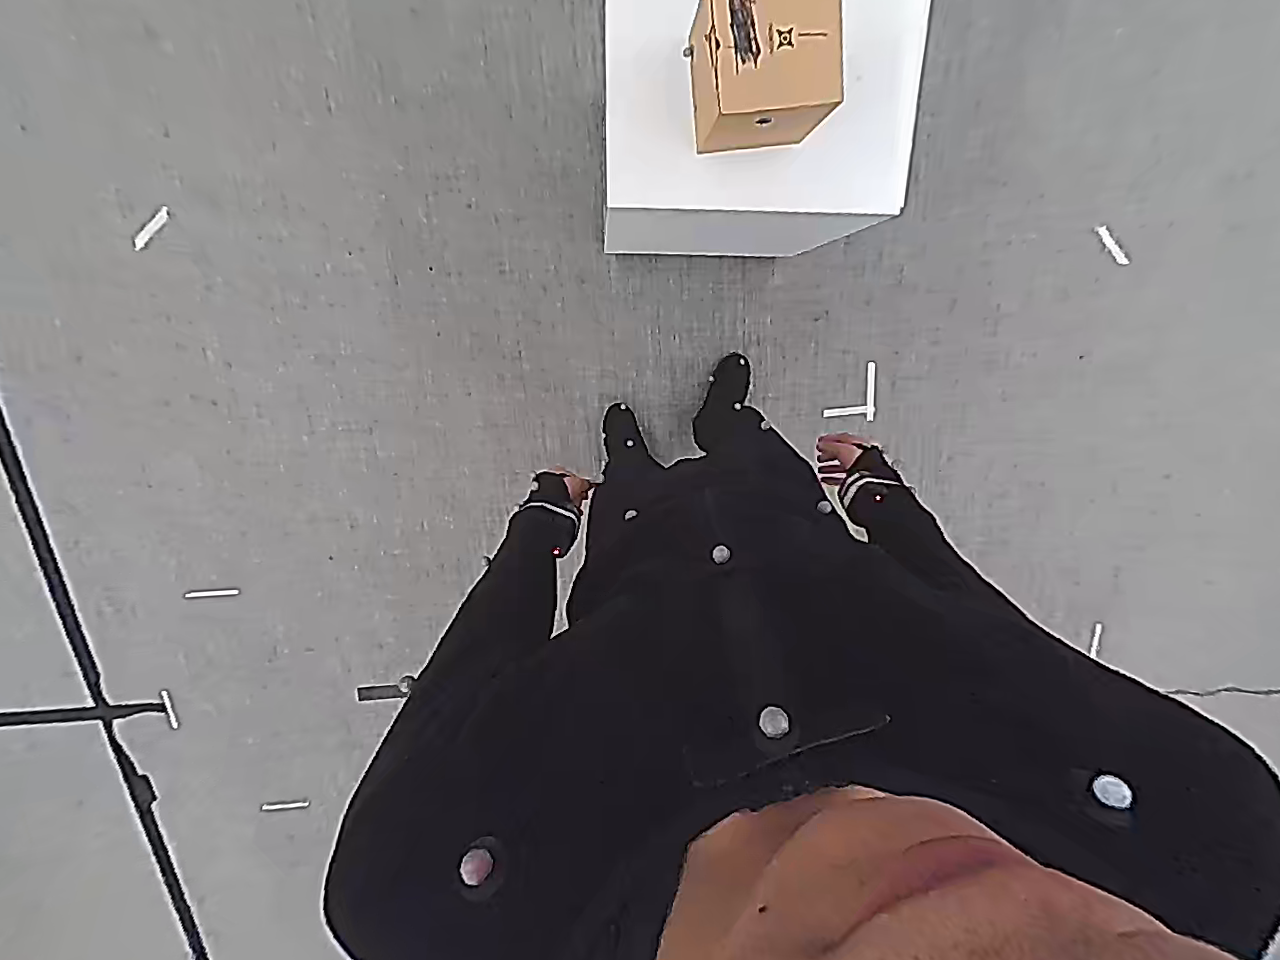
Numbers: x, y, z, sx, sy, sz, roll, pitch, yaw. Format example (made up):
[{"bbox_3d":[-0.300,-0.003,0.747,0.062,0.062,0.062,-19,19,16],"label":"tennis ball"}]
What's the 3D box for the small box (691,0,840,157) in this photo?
[{"bbox_3d":[0.173,-0.596,0.793,0.179,0.176,0.168,-8,105,-3],"label":"small box"}]
